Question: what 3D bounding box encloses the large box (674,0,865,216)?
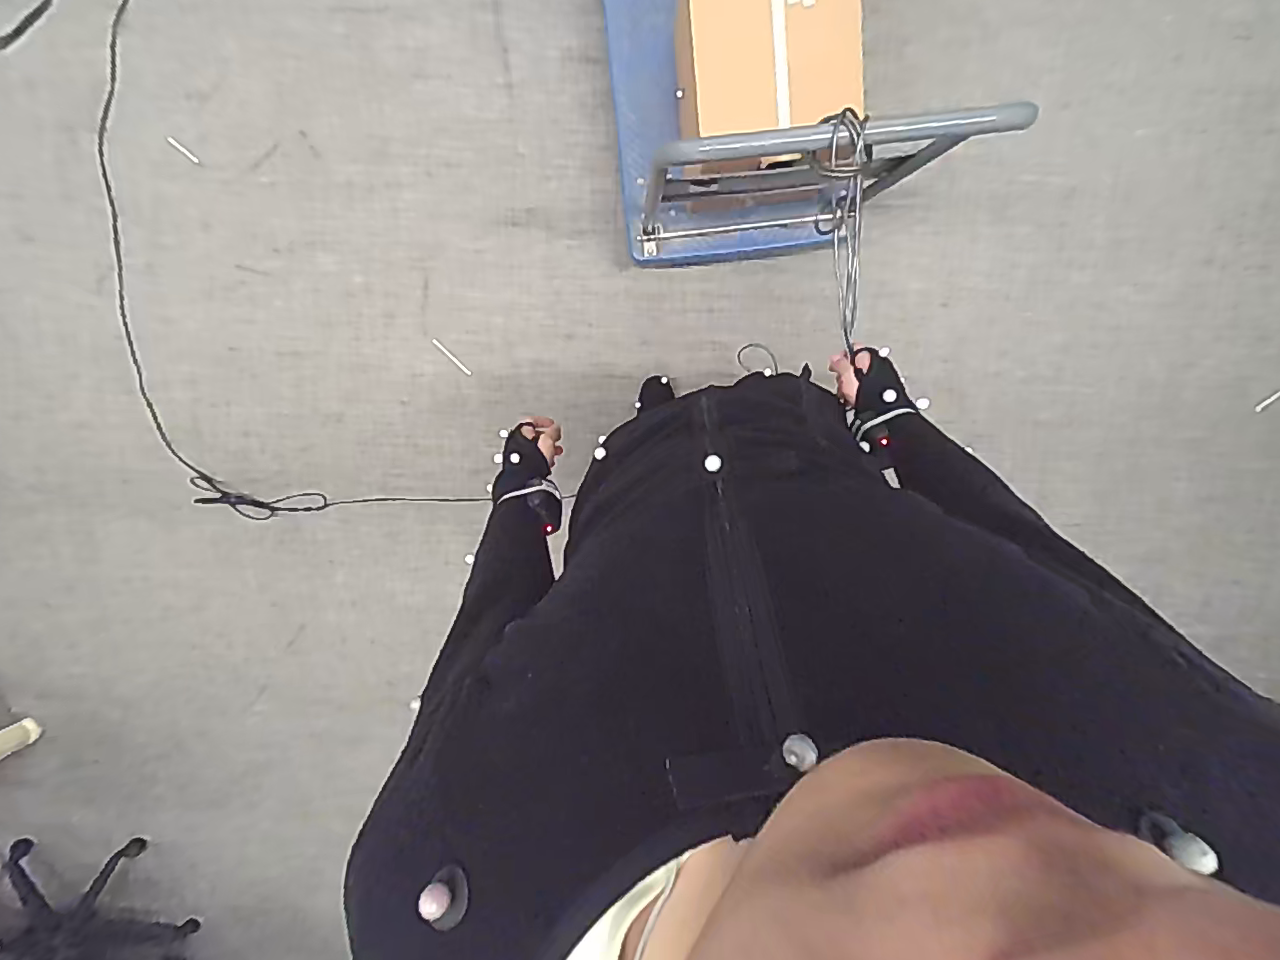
[{"bbox_3d":[0.249,-0.824,1.131,0.320,0.320,0.408,-6,100,0],"label":"large box"}]
